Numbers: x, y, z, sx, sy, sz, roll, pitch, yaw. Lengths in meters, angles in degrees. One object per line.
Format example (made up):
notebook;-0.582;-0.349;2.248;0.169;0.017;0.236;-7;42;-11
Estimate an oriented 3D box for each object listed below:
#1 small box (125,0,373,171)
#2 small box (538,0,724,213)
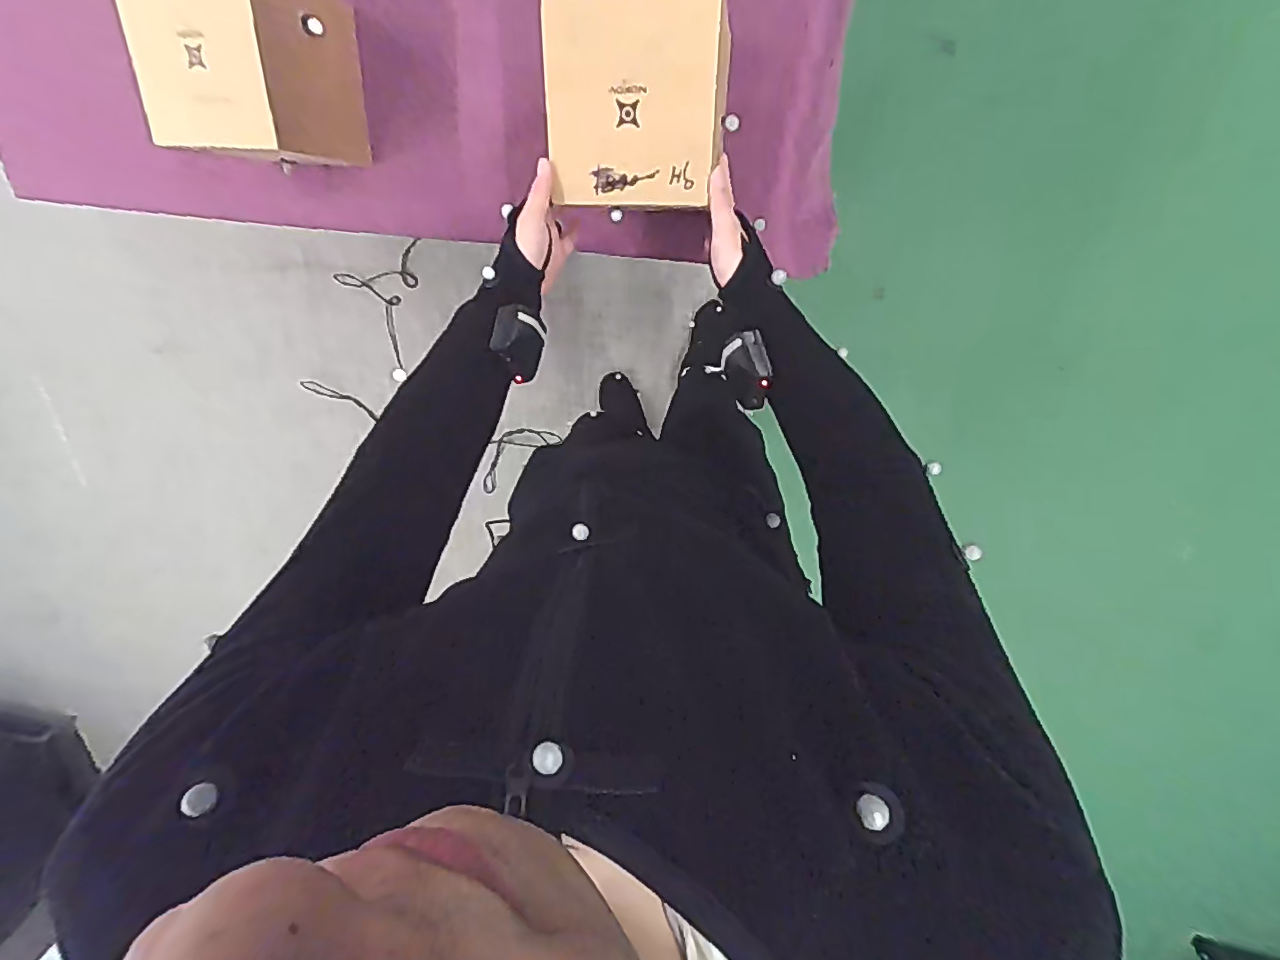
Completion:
small box;-0.457;-0.489;0.659;0.168;0.176;0.179;9;116;10
small box;0.000;-0.393;0.591;0.168;0.176;0.179;6;117;11
